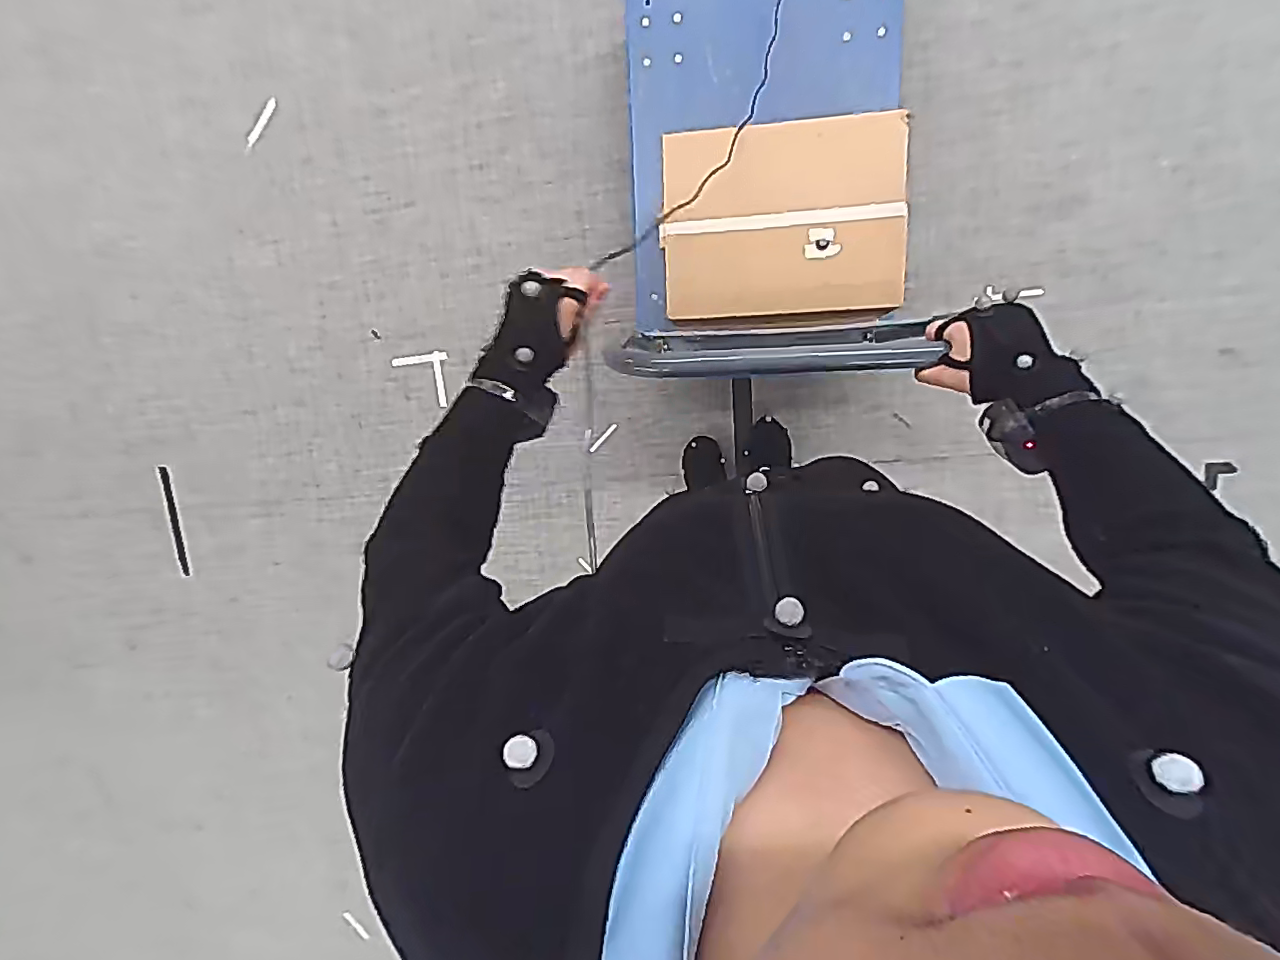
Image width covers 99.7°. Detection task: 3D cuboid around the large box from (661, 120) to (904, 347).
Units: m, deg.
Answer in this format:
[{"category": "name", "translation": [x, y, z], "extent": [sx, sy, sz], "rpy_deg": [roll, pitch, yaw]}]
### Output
[{"category": "large box", "translation": [0.258, -0.448, 1.070], "extent": [0.408, 0.320, 0.320], "rpy_deg": [-1, 99, 8]}]
